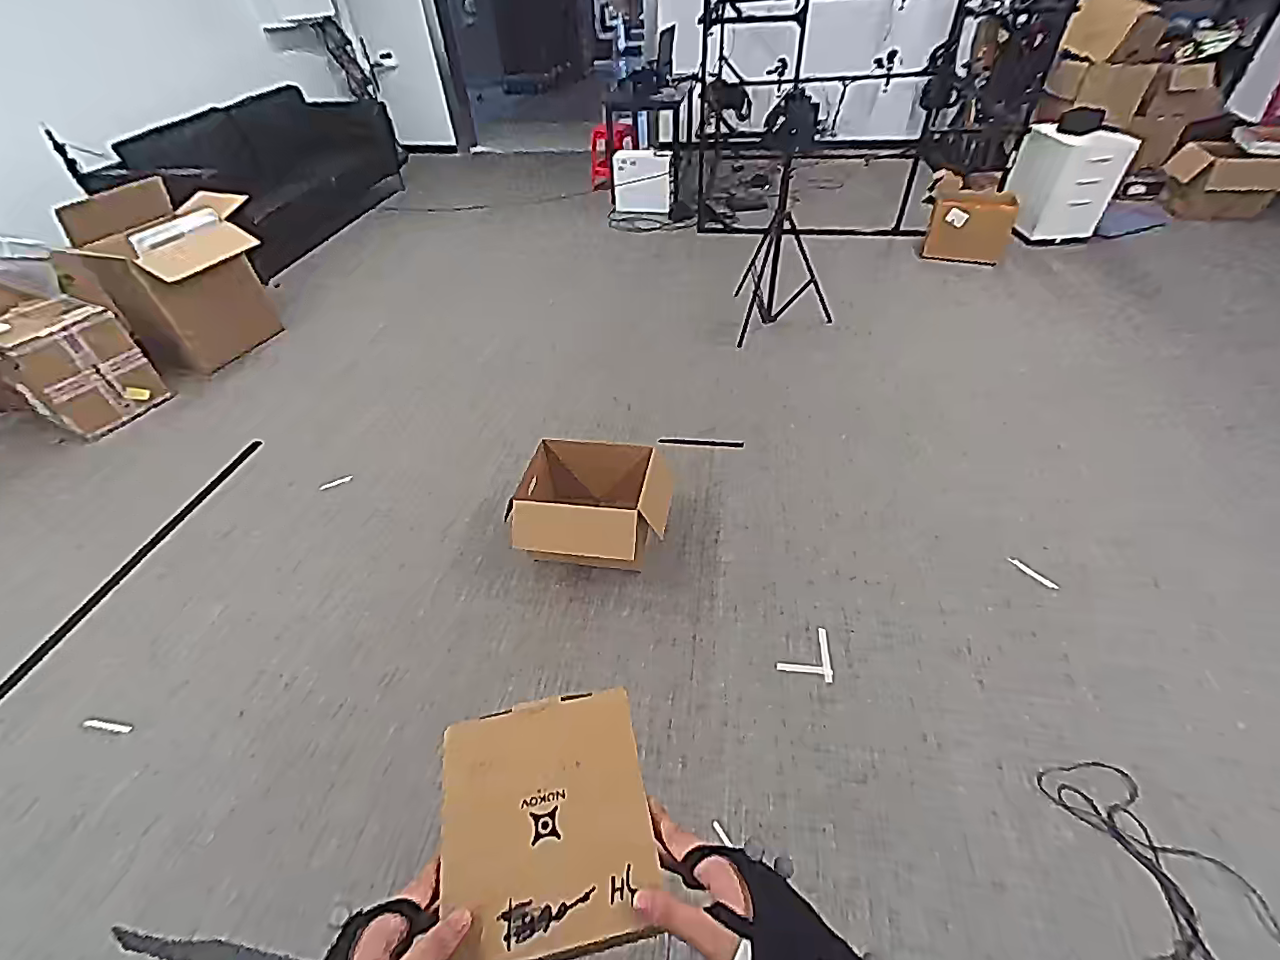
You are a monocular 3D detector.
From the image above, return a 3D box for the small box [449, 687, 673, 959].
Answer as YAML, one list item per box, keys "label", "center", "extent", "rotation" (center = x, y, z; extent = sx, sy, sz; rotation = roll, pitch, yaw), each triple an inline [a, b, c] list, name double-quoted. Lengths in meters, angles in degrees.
- label: "small box"
  center: [-0.069, 0.323, 0.507]
  extent: [0.168, 0.176, 0.179]
  rotation: [-10, 50, -6]
